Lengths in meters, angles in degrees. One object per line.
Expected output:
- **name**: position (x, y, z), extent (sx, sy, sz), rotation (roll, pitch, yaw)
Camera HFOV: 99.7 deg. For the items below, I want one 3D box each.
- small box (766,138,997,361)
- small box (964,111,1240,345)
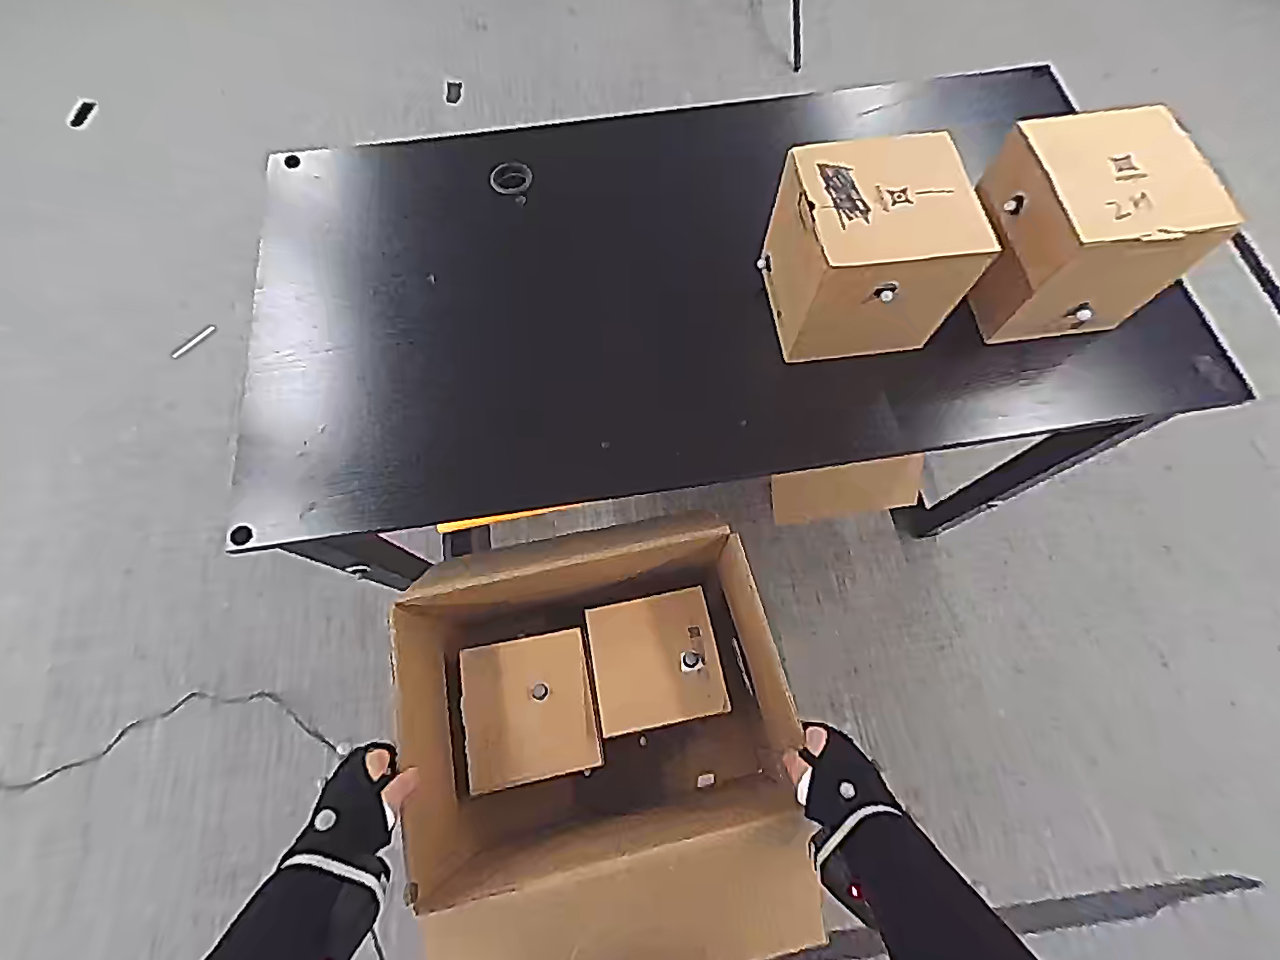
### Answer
- **small box**: position (0.253, -0.253, 0.623), extent (0.179, 0.176, 0.168), rotation (-6, 70, -2)
- **small box**: position (0.497, -0.283, 0.629), extent (0.168, 0.176, 0.179), rotation (-7, 69, -1)
